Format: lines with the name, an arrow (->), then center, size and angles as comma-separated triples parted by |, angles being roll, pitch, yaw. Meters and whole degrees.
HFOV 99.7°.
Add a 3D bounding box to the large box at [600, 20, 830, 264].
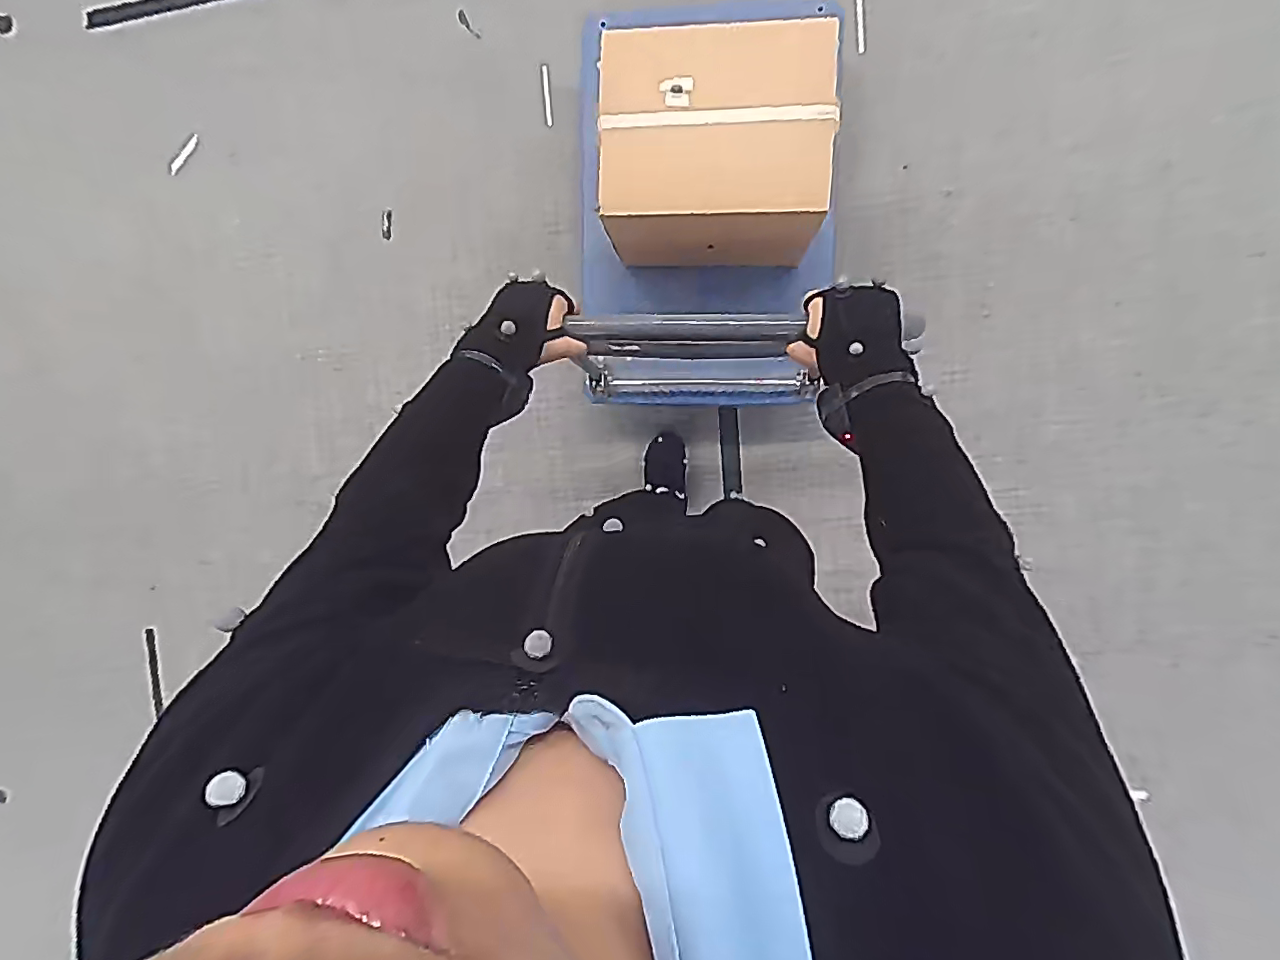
large box -> 0.146, -0.643, 1.097 | 0.408, 0.320, 0.320 | 2, 94, 7
